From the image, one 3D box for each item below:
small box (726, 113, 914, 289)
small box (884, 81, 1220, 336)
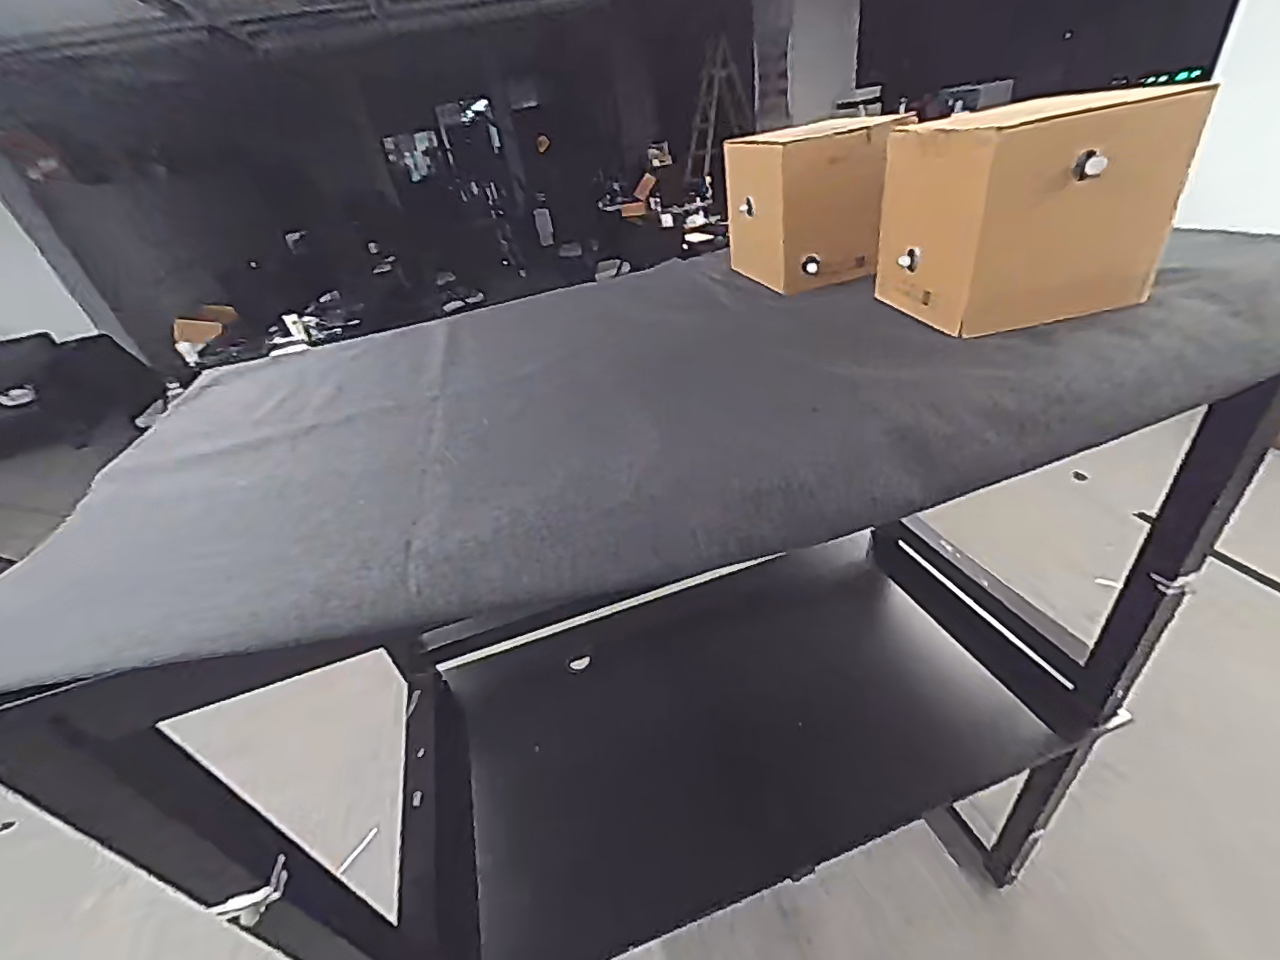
[{"bbox_3d":[0.225,-0.361,0.707,0.168,0.176,0.179,-16,33,-7],"label":"small box"},{"bbox_3d":[0.354,-0.253,0.511,0.179,0.176,0.168,-12,32,0],"label":"small box"}]
